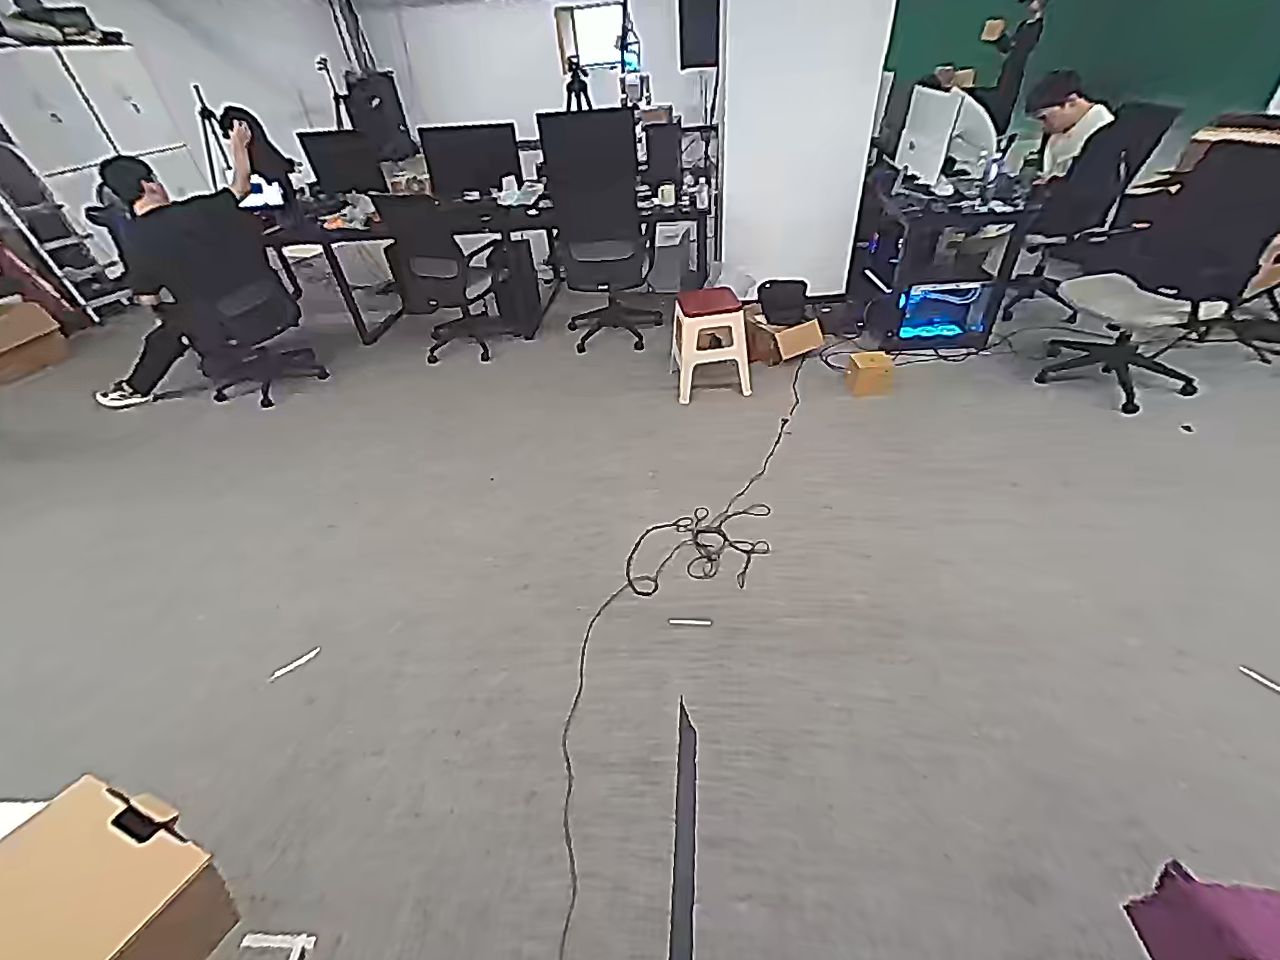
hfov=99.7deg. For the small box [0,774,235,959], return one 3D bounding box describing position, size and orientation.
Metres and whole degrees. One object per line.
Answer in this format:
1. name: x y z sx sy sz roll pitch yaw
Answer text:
1. small box: -0.520 0.424 0.494 0.168 0.176 0.179 24 34 11
